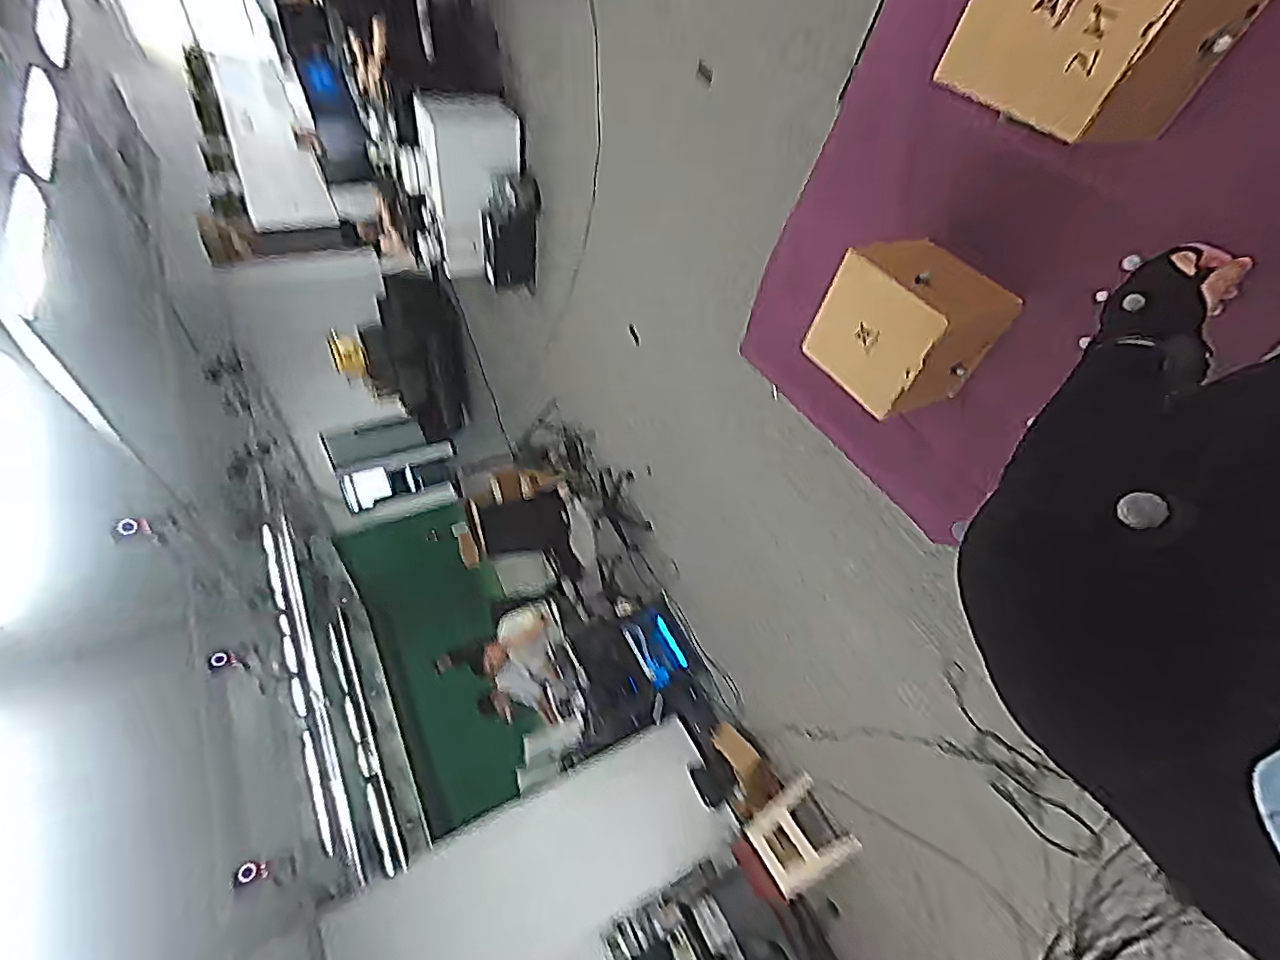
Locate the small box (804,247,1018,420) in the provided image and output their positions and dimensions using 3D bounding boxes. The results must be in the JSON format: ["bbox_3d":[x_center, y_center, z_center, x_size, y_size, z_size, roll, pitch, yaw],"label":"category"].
[{"bbox_3d":[0.378,-0.216,0.774,0.179,0.176,0.168,54,149,30],"label":"small box"}]

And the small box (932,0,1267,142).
[{"bbox_3d":[0.433,-0.441,0.507,0.179,0.176,0.168,56,151,30],"label":"small box"}]
